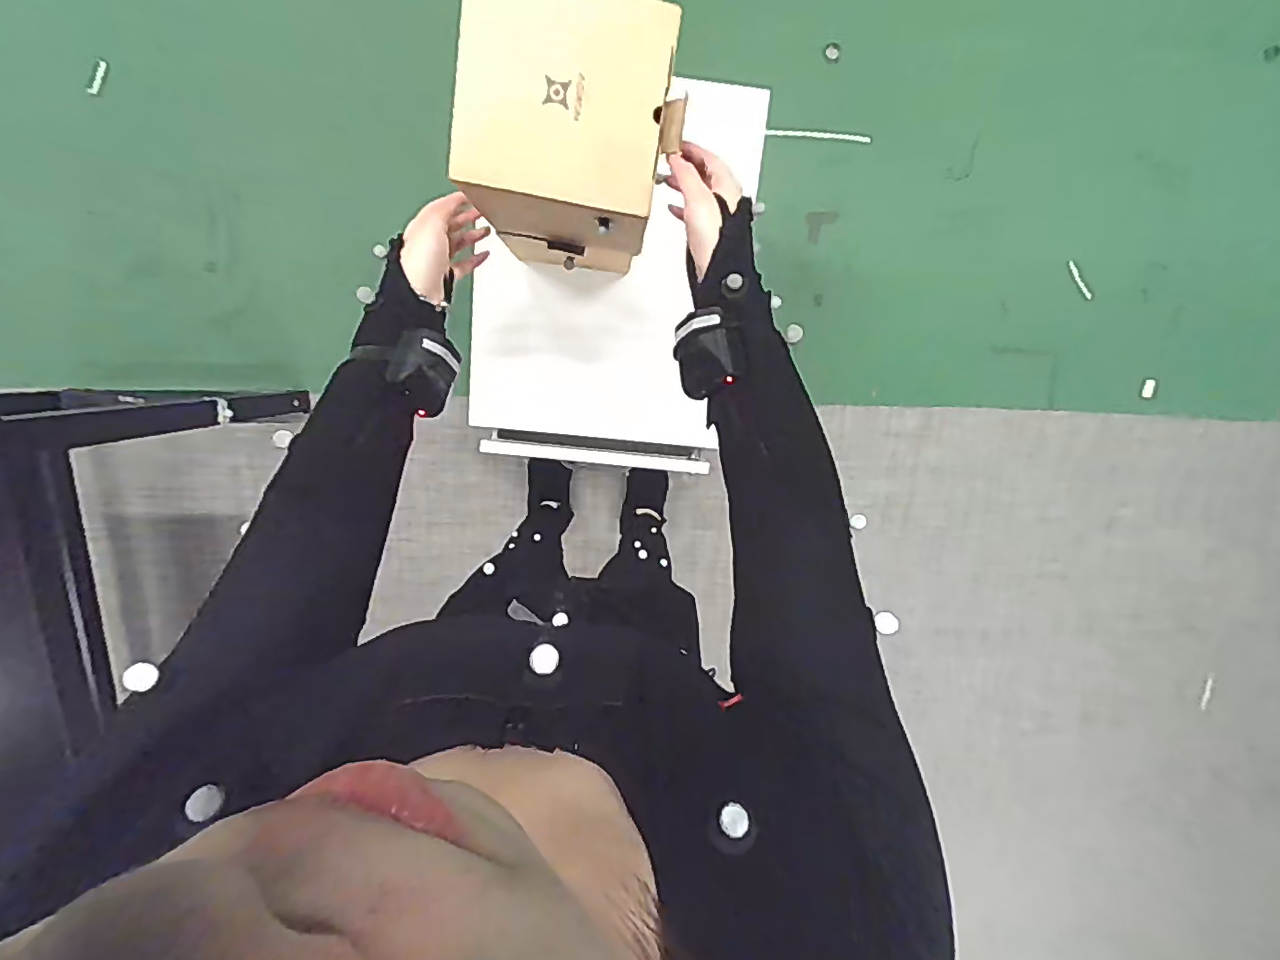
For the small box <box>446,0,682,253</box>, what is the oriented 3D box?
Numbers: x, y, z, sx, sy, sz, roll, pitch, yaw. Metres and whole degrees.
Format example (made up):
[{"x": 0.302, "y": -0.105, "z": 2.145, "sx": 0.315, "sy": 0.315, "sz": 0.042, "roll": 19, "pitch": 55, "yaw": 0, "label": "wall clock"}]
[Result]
[{"x": -0.069, "y": -0.330, "z": 0.519, "sx": 0.179, "sy": 0.176, "sz": 0.168, "roll": 8, "pitch": 101, "yaw": -6, "label": "small box"}]

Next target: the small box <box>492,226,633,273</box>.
[{"x": -0.082, "y": -0.368, "z": 0.677, "sx": 0.168, "sy": 0.176, "sz": 0.179, "roll": 5, "pitch": 102, "yaw": -5, "label": "small box"}]
